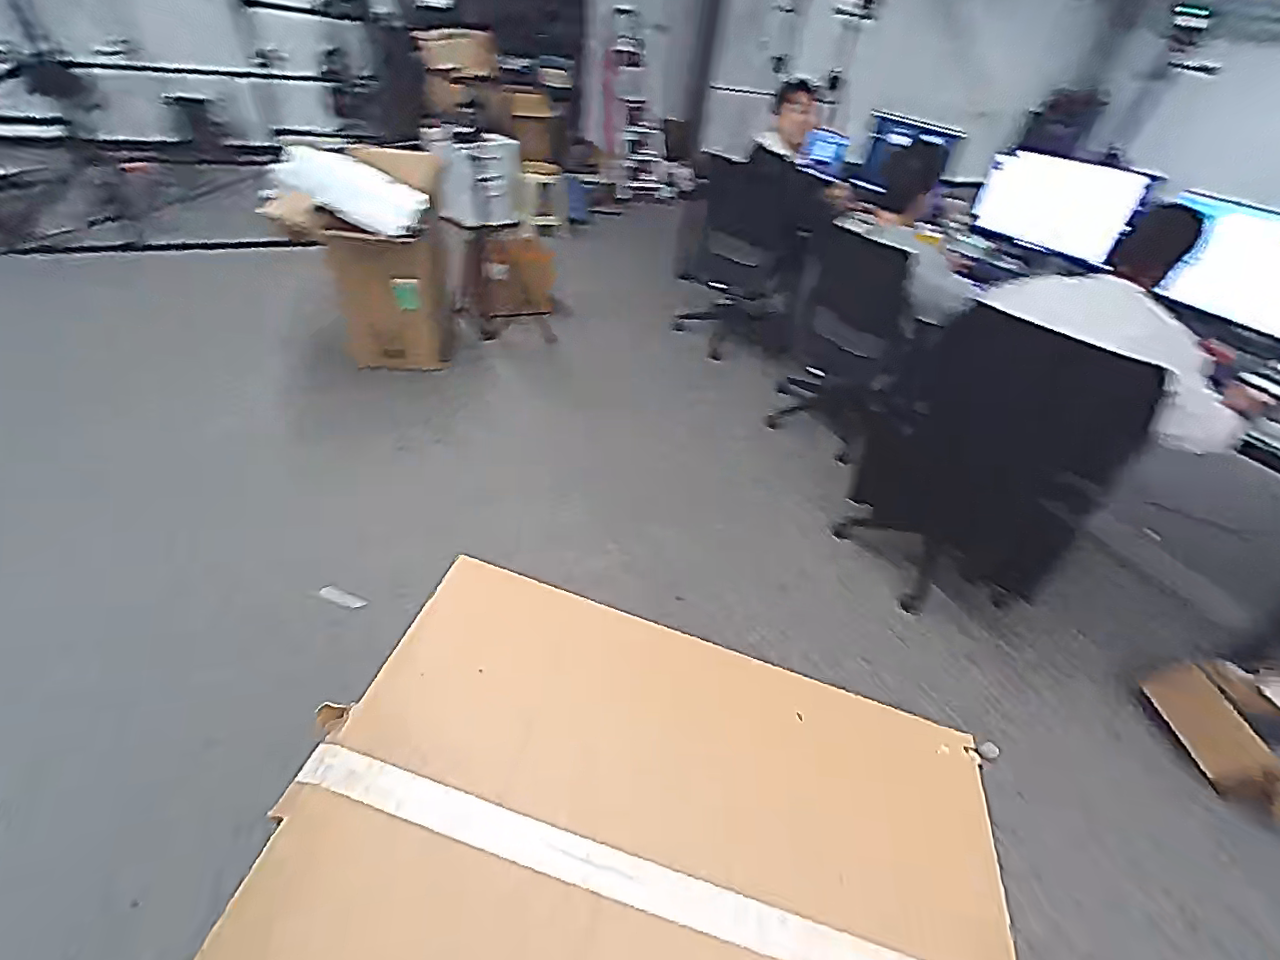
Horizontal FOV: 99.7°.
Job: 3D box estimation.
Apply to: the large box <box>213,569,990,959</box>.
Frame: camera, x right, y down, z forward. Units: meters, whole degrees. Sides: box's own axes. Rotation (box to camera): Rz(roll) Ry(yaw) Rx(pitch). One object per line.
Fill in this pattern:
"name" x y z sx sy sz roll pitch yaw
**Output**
"large box" -0.024 0.329 0.407 0.408 0.320 0.320 19 45 1
